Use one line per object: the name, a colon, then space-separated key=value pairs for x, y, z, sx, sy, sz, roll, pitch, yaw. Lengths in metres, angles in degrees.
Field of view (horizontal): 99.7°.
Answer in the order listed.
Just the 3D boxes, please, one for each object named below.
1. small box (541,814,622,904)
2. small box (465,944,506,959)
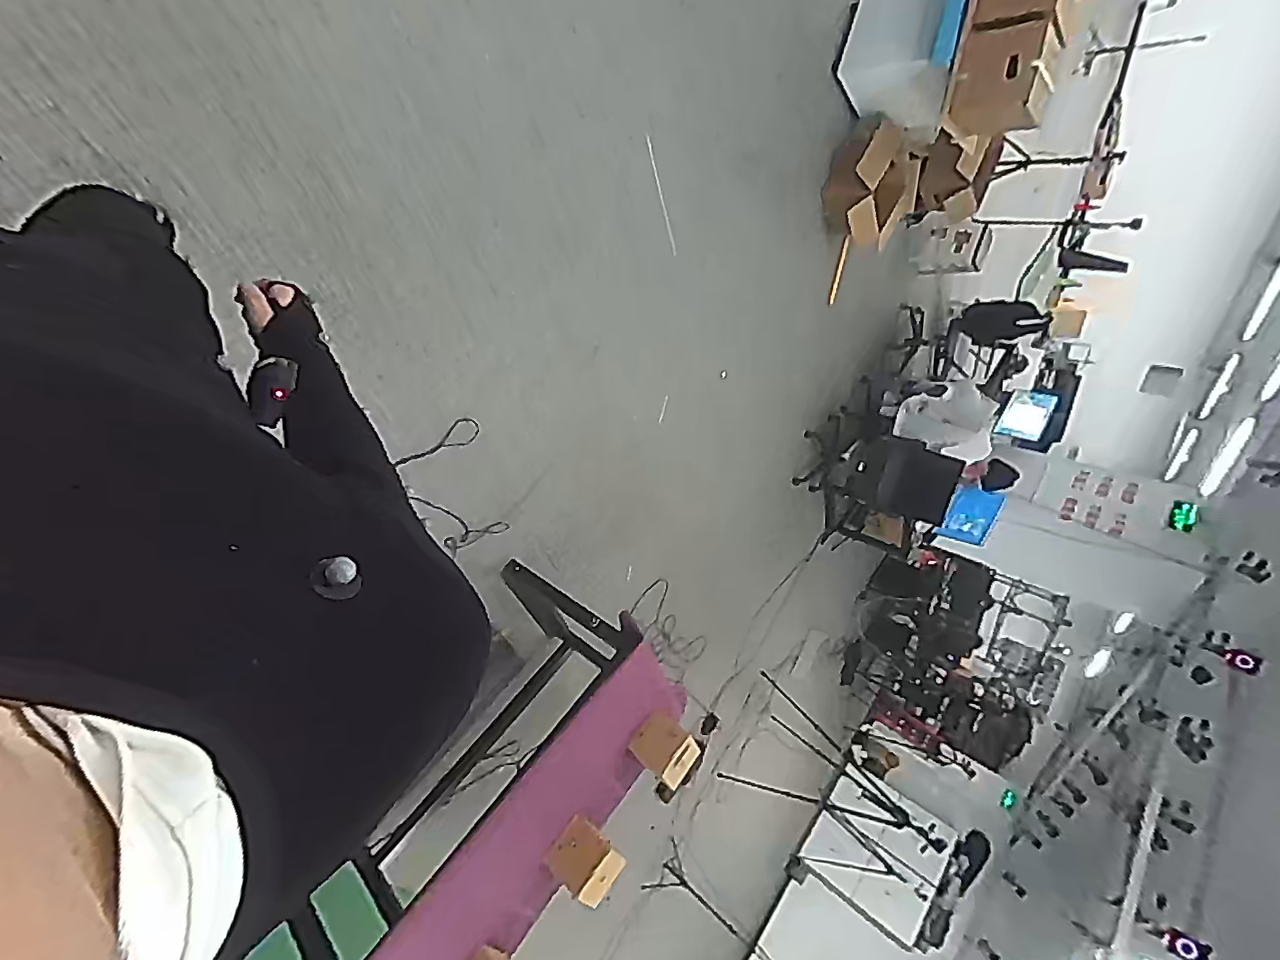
small box: x=-0.194 y=1.246 z=1.785 sx=0.168 sy=0.176 sz=0.179 roll=-47 pitch=138 yaw=-25
small box: x=-0.459 y=1.526 z=1.596 sx=0.168 sy=0.176 sz=0.179 roll=-45 pitch=137 yaw=-29
